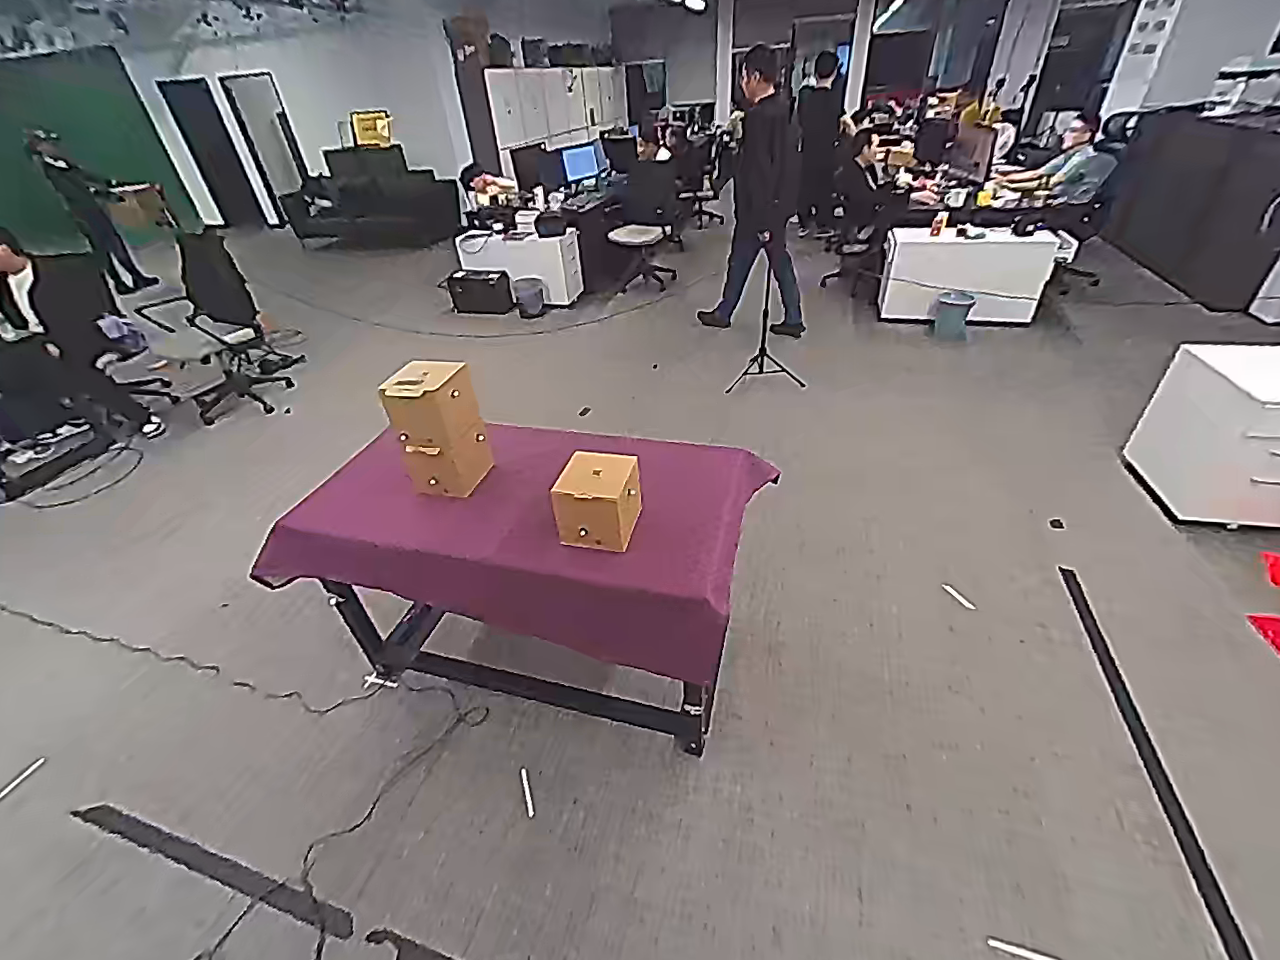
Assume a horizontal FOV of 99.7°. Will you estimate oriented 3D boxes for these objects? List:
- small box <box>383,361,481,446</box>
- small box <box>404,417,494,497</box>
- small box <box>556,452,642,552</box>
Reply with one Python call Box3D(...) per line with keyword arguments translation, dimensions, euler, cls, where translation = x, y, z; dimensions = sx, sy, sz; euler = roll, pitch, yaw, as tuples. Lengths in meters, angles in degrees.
Box3D(translation=(-0.550, -0.207, 1.461), dimensions=(0.168, 0.176, 0.179), euler=(5, 37, 12), cls="small box")
Box3D(translation=(-0.539, -0.074, 1.558), dimensions=(0.168, 0.176, 0.179), euler=(7, 38, 15), cls="small box")
Box3D(translation=(-0.094, 0.052, 1.345), dimensions=(0.168, 0.176, 0.179), euler=(6, 38, 14), cls="small box")
